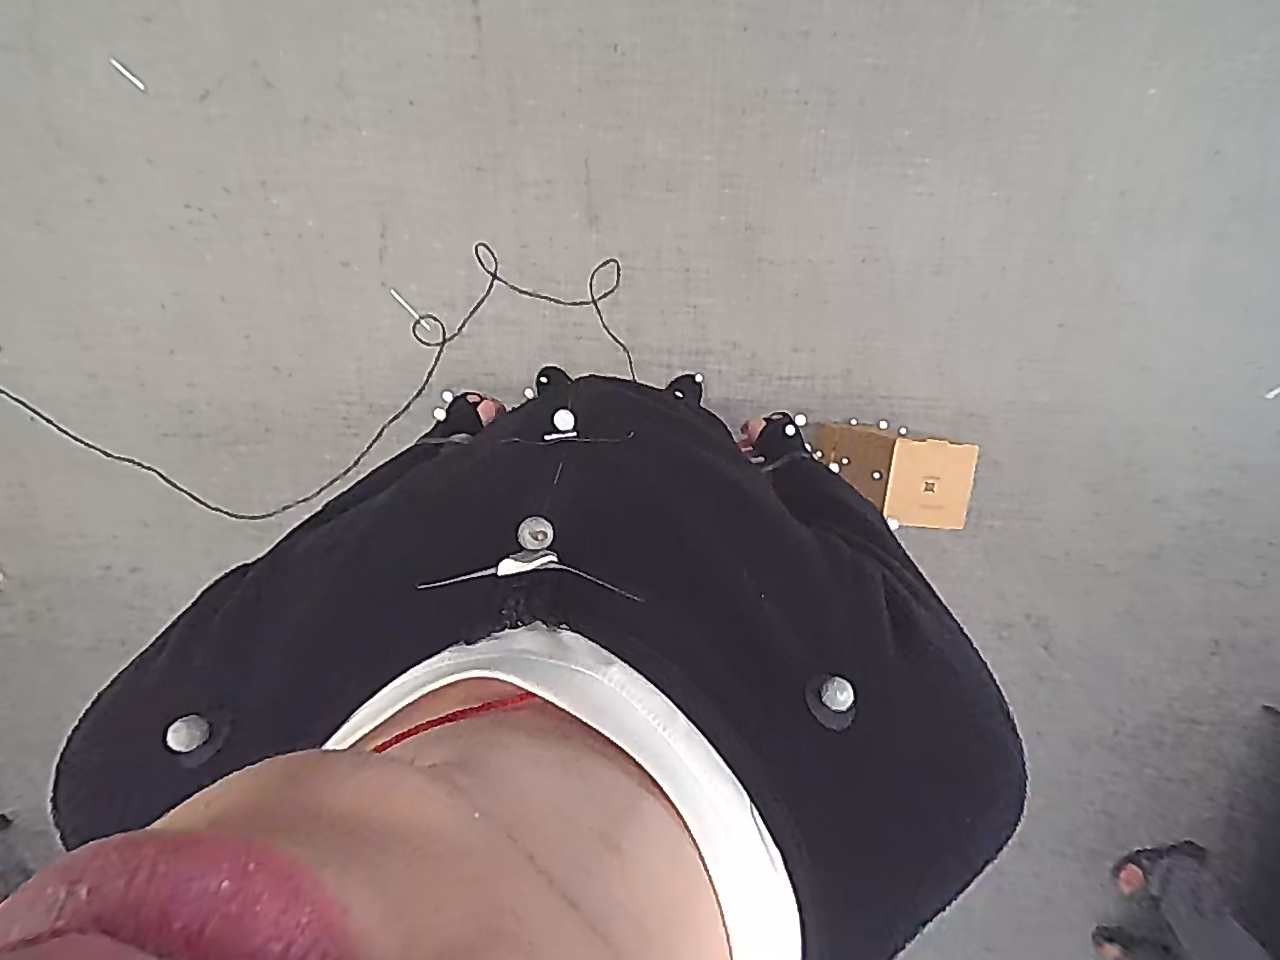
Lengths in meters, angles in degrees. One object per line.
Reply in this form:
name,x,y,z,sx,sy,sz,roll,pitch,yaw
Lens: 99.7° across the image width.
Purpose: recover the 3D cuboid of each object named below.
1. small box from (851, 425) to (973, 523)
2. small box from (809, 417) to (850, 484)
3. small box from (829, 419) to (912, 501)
small box,0.570,-0.020,1.159,0.168,0.176,0.179,4,104,0
small box,0.576,-0.079,1.480,0.179,0.176,0.168,4,103,0
small box,0.575,-0.050,1.318,0.168,0.176,0.179,3,102,-1
